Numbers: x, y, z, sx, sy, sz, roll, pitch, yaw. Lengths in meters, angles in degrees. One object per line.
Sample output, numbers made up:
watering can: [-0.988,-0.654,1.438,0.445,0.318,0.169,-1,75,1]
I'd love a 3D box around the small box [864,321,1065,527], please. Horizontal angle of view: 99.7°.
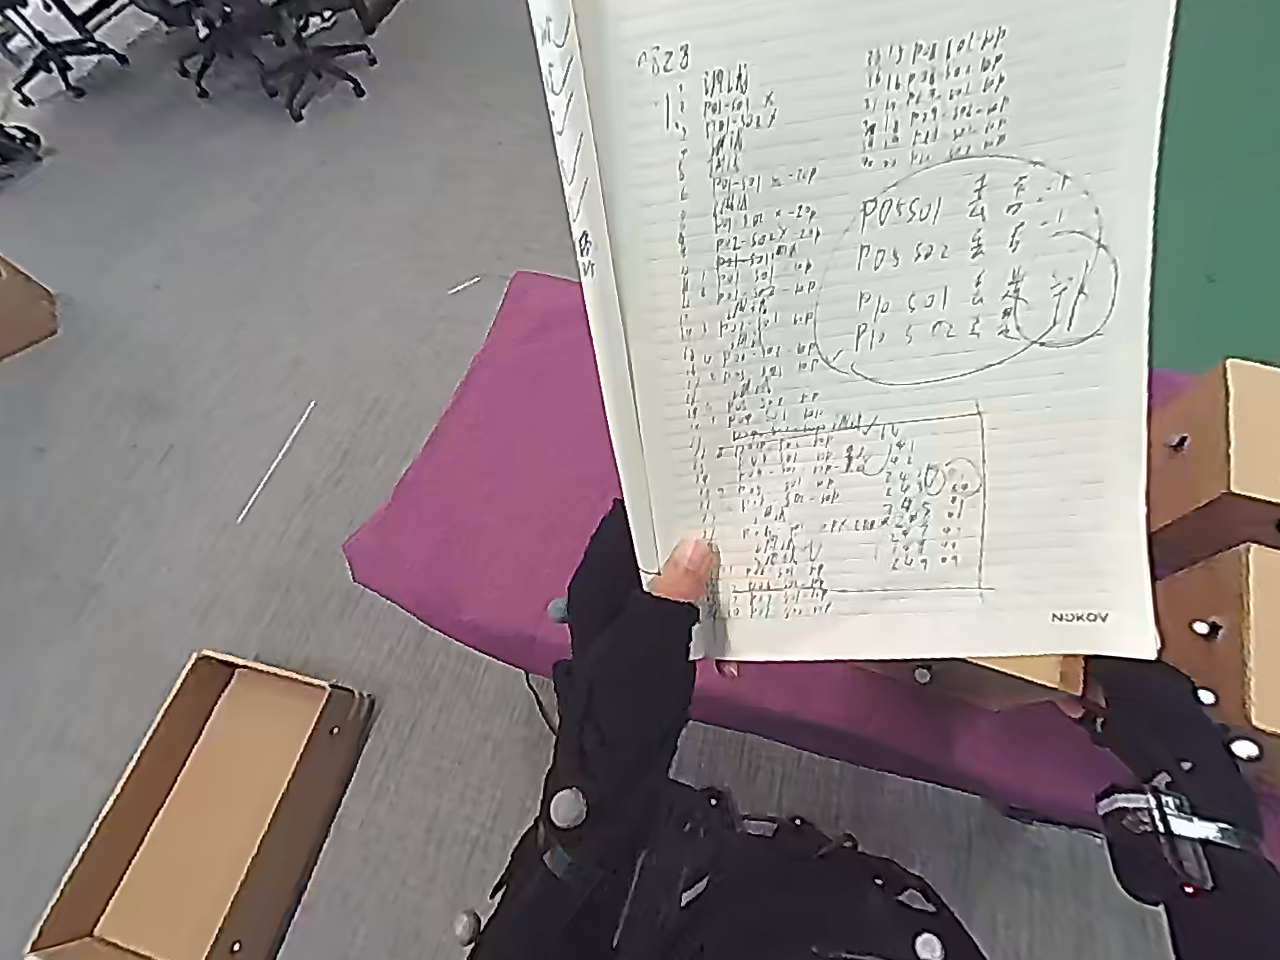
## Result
small box: [0.394,-0.065,0.679,0.168,0.176,0.179,14,66,14]

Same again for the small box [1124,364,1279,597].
small box: [0.690,0.005,0.604,0.168,0.176,0.179,18,66,17]
